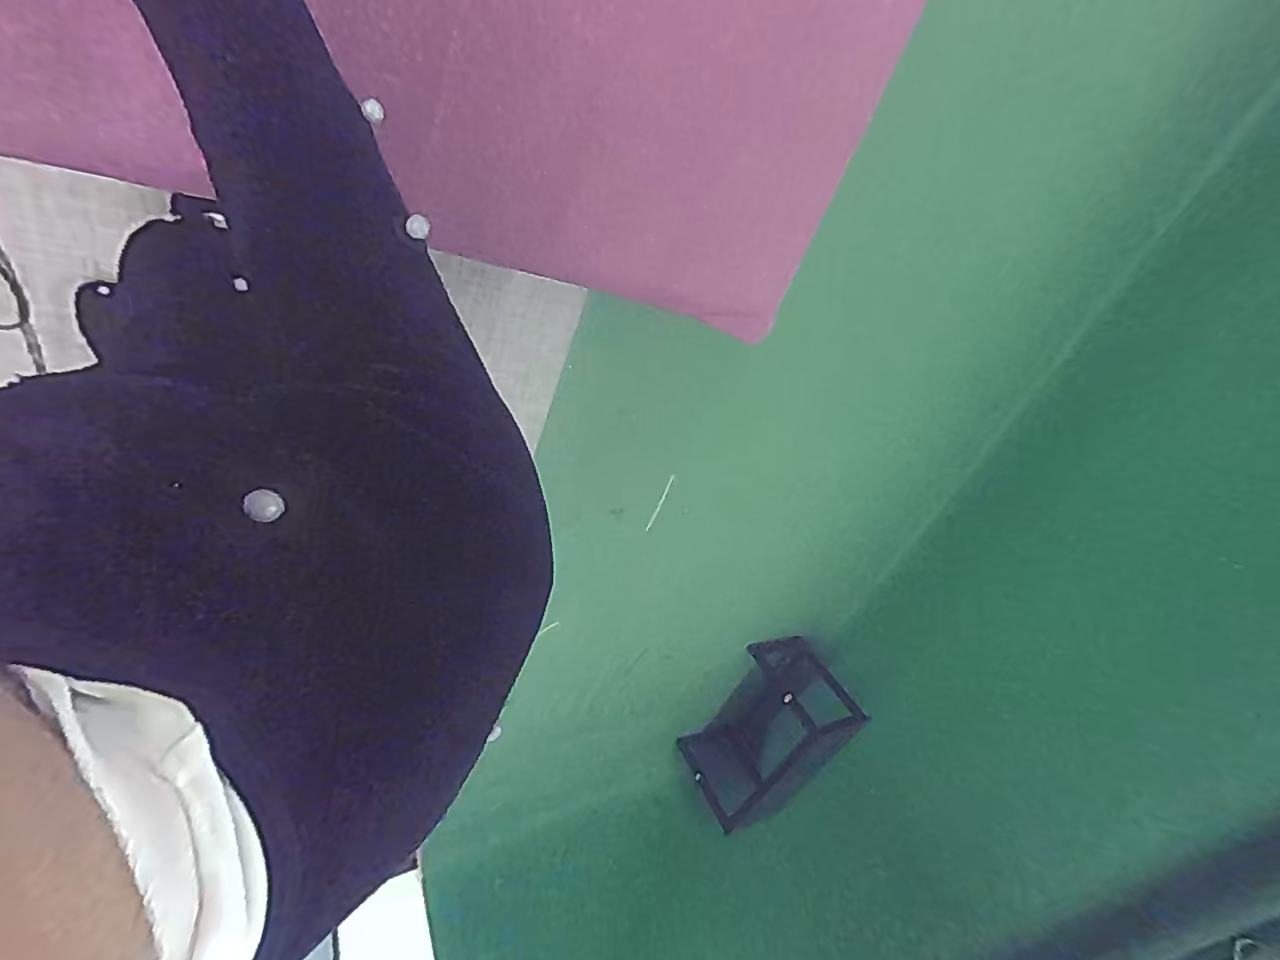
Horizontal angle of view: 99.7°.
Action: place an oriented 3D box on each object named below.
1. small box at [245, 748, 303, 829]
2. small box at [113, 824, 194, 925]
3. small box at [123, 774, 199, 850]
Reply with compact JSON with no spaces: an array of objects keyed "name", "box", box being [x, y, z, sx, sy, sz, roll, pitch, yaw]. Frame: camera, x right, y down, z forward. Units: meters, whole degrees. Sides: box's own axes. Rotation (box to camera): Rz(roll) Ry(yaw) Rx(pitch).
[{"name":"small box","box":[-1.306,1.095,1.927,0.168,0.176,0.179,-1,128,-36]},{"name":"small box","box":[-1.473,1.191,1.645,0.168,0.176,0.179,7,122,-39]},{"name":"small box","box":[-1.550,1.093,1.754,0.168,0.176,0.179,7,122,-38]}]
